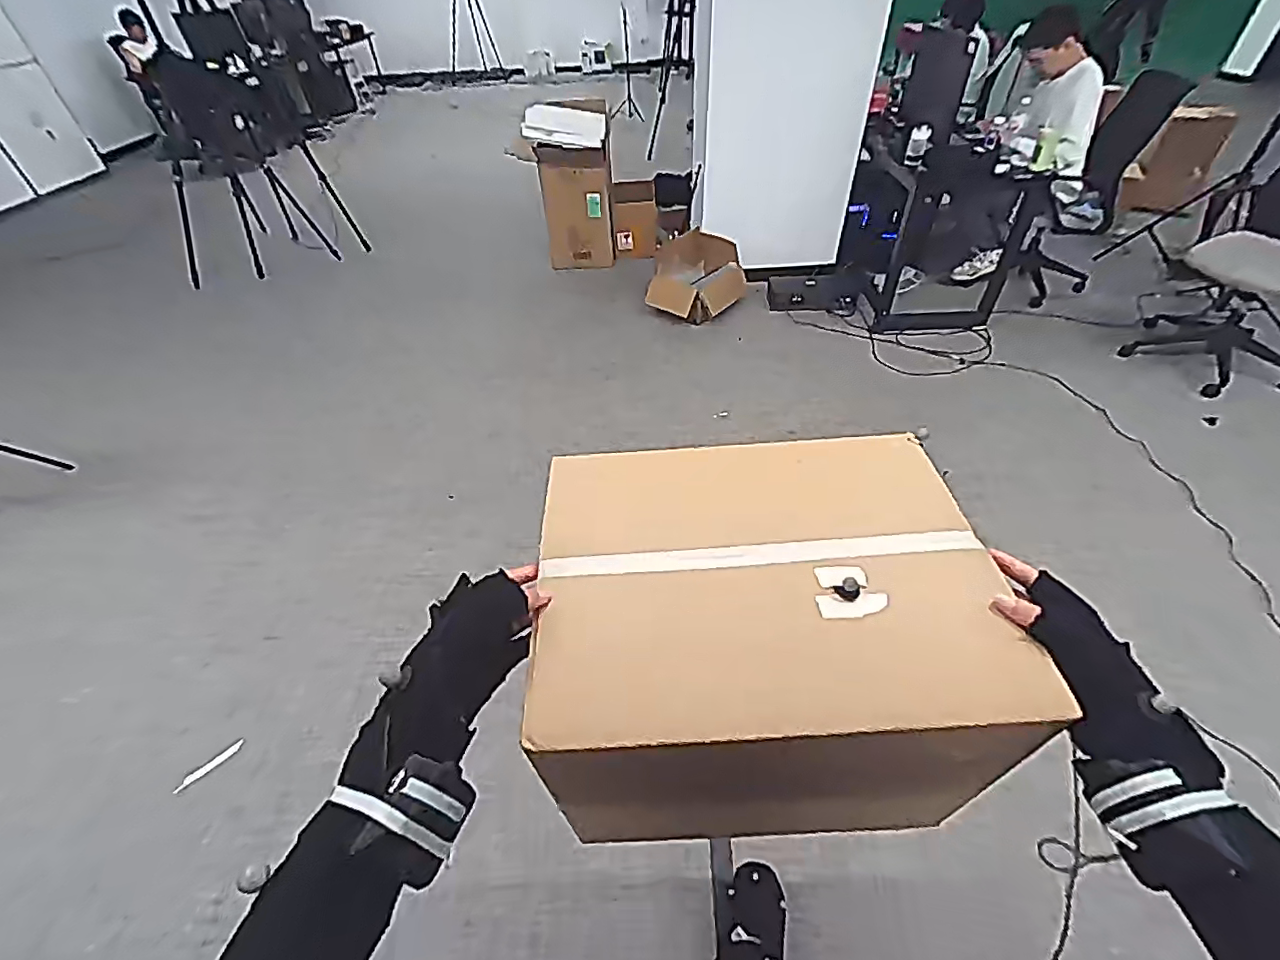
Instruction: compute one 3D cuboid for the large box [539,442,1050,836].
[{"bbox_3d":[0.117,0.182,0.621,0.408,0.320,0.320,-3,46,1],"label":"large box"}]
